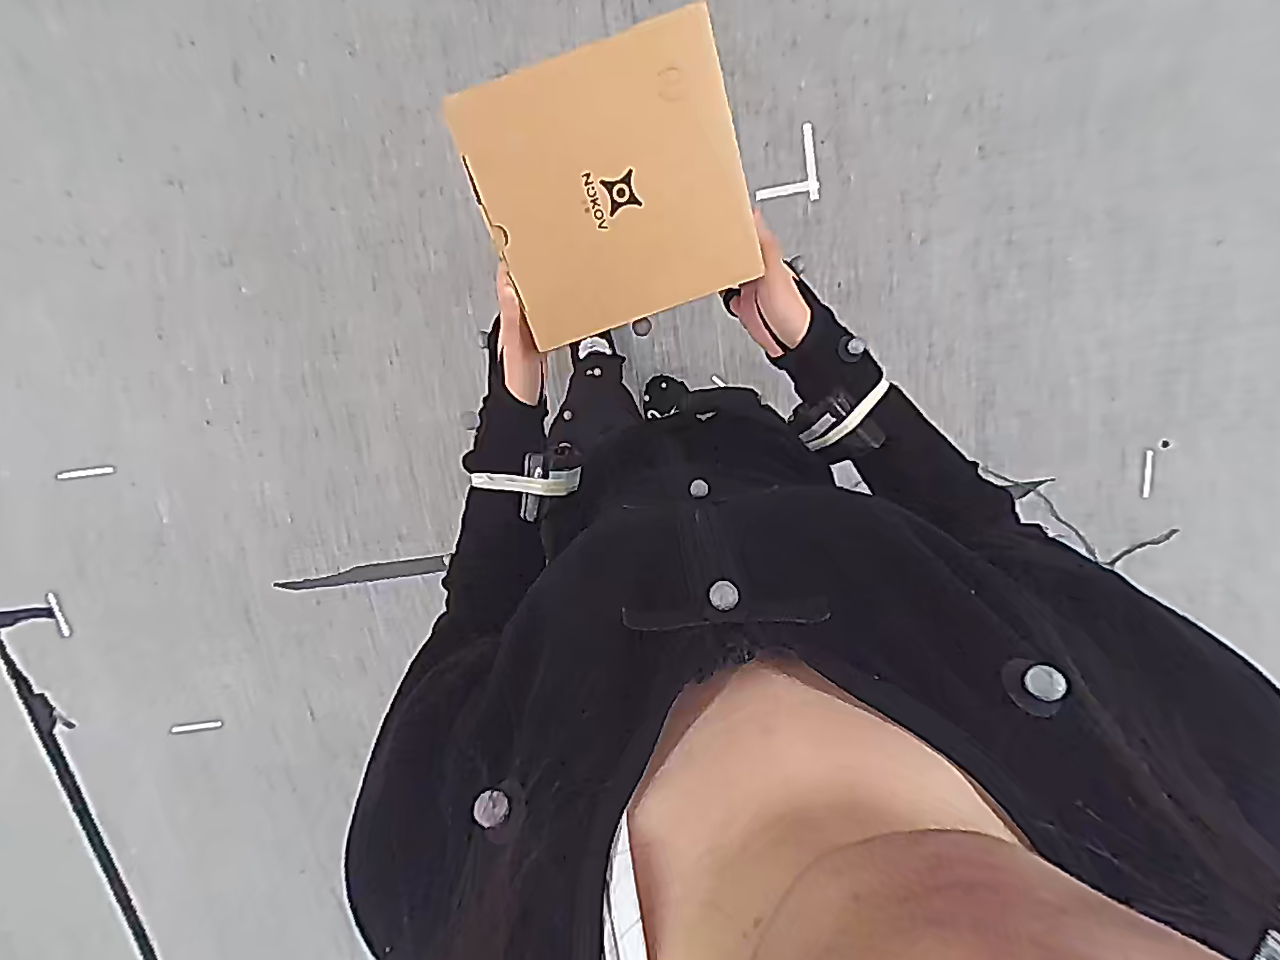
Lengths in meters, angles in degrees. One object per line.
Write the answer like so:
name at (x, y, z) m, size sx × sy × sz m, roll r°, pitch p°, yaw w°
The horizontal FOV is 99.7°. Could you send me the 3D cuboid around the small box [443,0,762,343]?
small box at (-0.023, -0.228, 0.433) m, size 0.179 × 0.176 × 0.168 m, roll -18°, pitch 113°, yaw 4°
